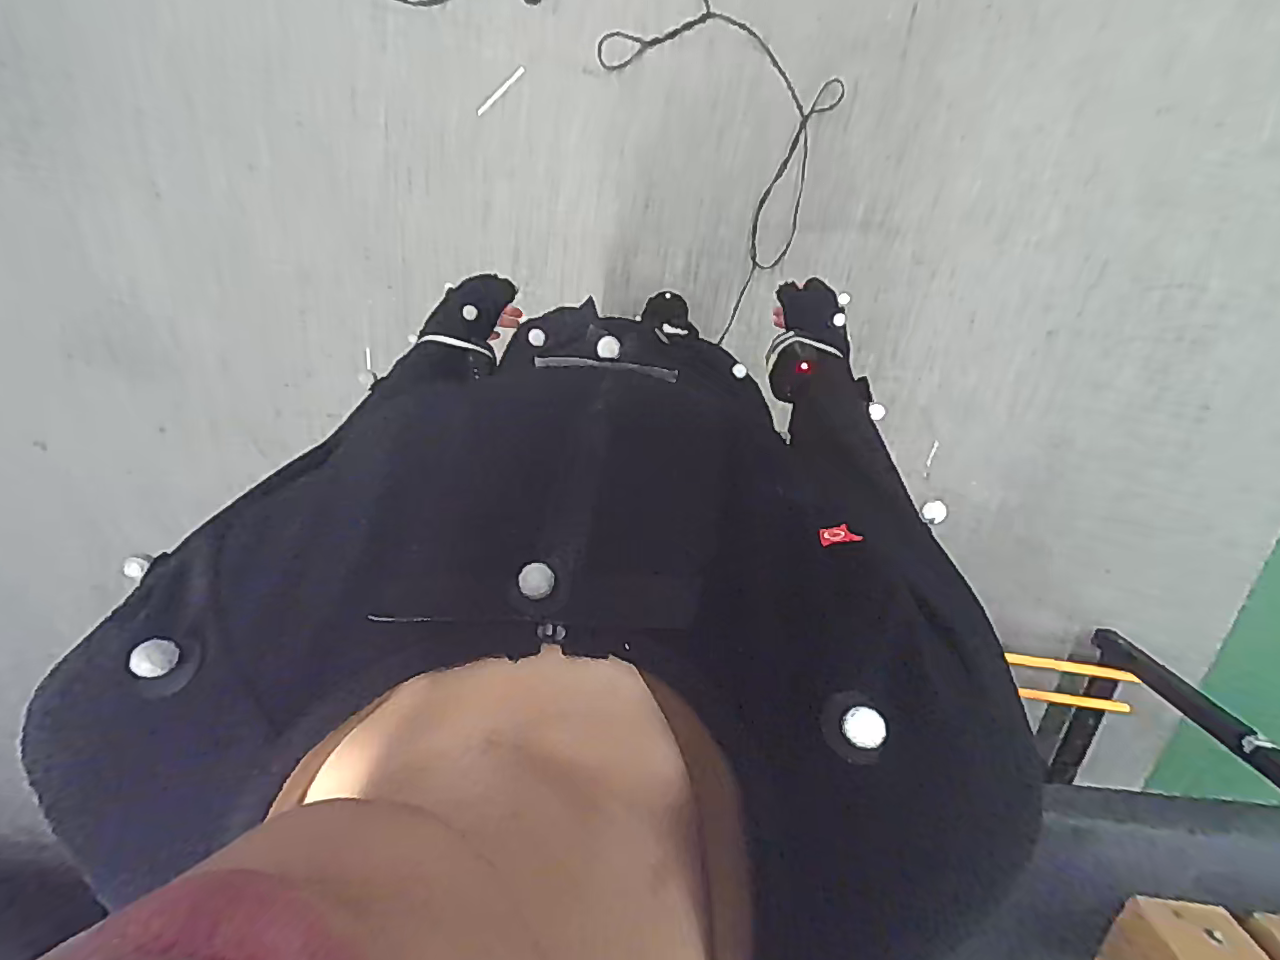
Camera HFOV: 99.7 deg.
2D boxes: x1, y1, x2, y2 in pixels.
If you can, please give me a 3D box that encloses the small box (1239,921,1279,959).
[{"bbox_3d":[1.117,0.860,0.860,0.168,0.176,0.179,8,108,0],"label":"small box"}]
